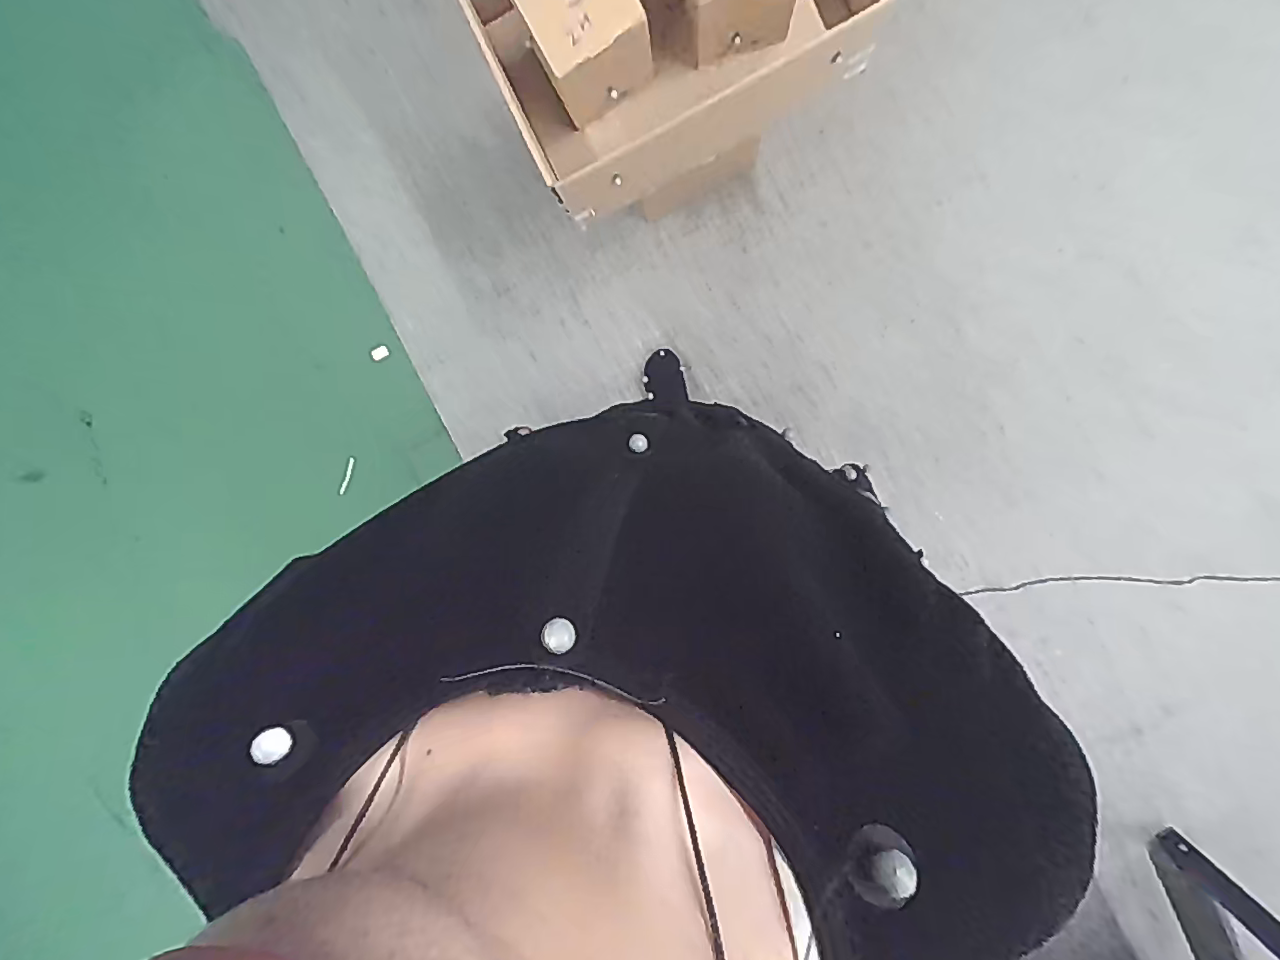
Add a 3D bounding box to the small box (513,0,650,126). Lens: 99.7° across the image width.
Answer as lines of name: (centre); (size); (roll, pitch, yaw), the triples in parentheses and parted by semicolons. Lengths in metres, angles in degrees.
small box: (-0.095, -0.748, 0.903); (0.168, 0.176, 0.179); (-28, 95, 8)
